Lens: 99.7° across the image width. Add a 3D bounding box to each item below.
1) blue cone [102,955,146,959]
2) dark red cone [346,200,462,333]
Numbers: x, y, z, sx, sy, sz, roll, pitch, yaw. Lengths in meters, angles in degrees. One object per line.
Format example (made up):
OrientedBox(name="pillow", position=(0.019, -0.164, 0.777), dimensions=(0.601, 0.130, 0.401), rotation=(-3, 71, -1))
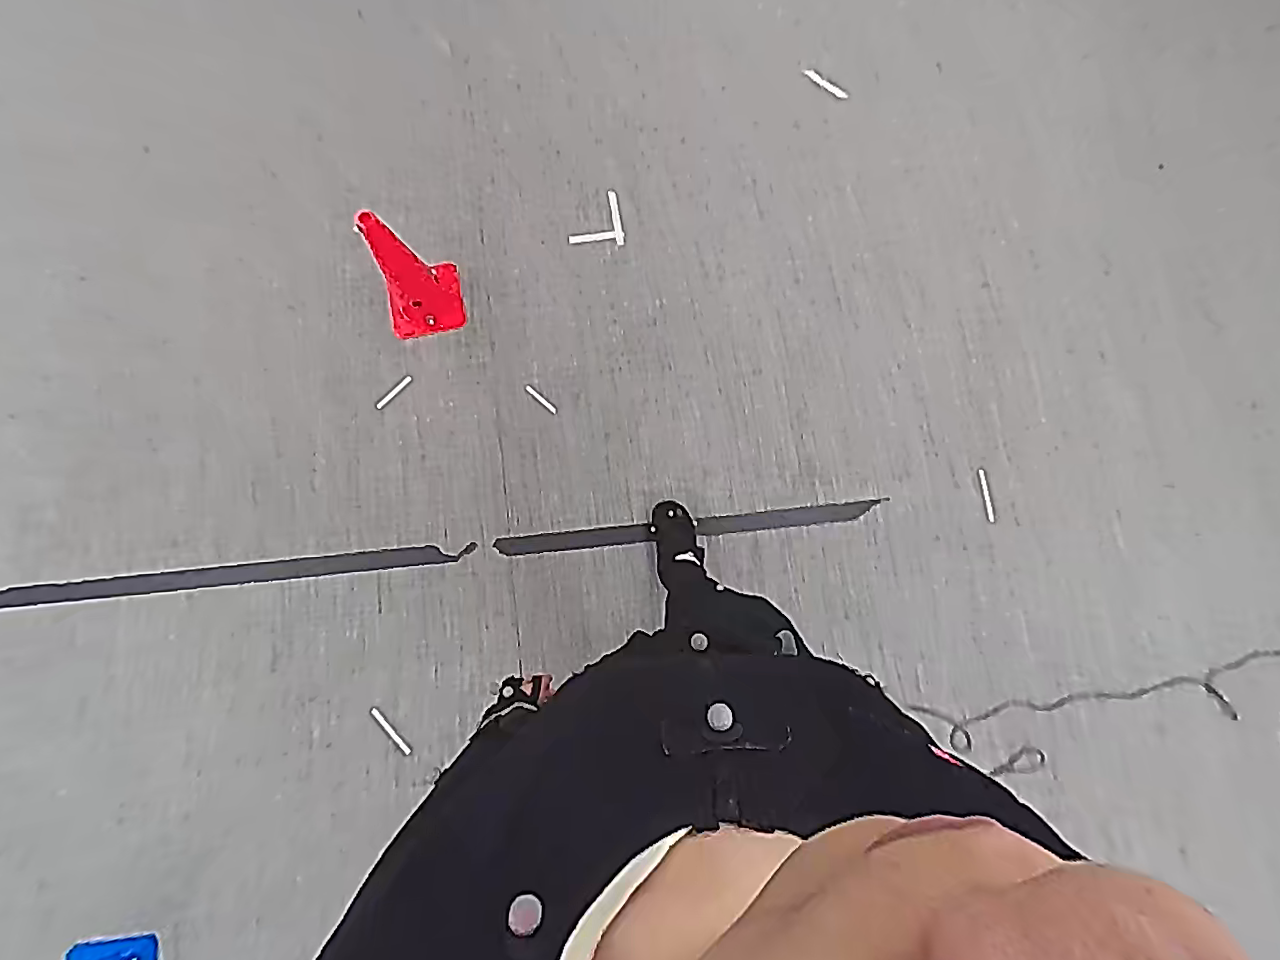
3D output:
OrientedBox(name="blue cone", position=(-1.159, 1.118, 1.013), dimensions=(0.193, 0.380, 0.192), rotation=(-6, 81, -2))
OrientedBox(name="dark red cone", position=(-0.587, -0.524, 1.289), dimensions=(0.202, 0.394, 0.201), rotation=(-14, 81, -3))
